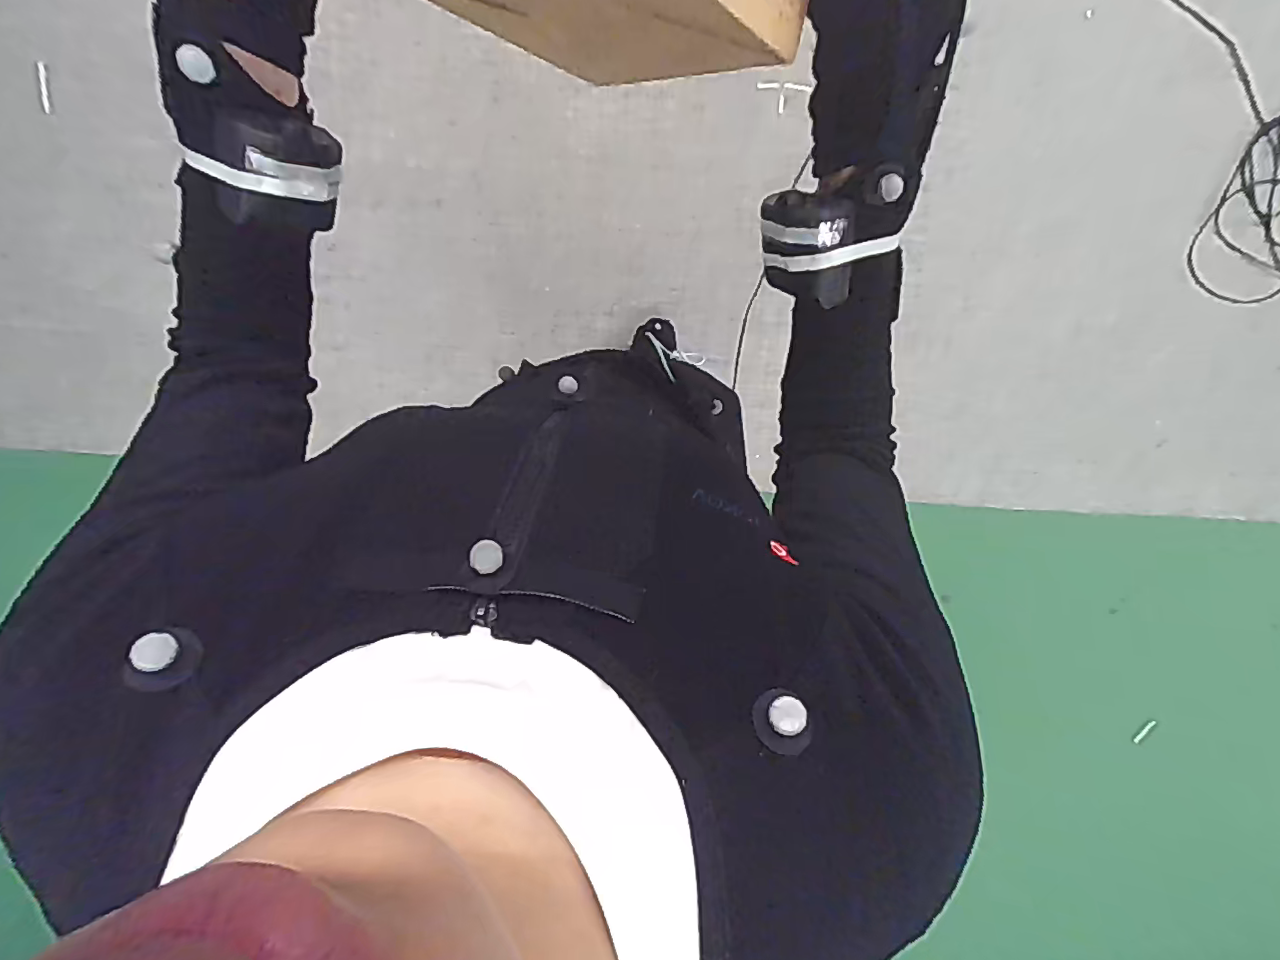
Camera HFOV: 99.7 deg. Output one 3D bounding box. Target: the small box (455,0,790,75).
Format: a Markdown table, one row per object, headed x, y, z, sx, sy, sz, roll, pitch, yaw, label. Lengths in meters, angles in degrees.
| x | y | z | sx | sy | sz | roll | pitch | yaw | label |
| --- | --- | --- | --- | --- | --- | --- | --- | --- | --- |
| -0.016 | -0.320 | 0.251 | 0.168 | 0.179 | 0.176 | 28 | 116 | 38 | small box |
